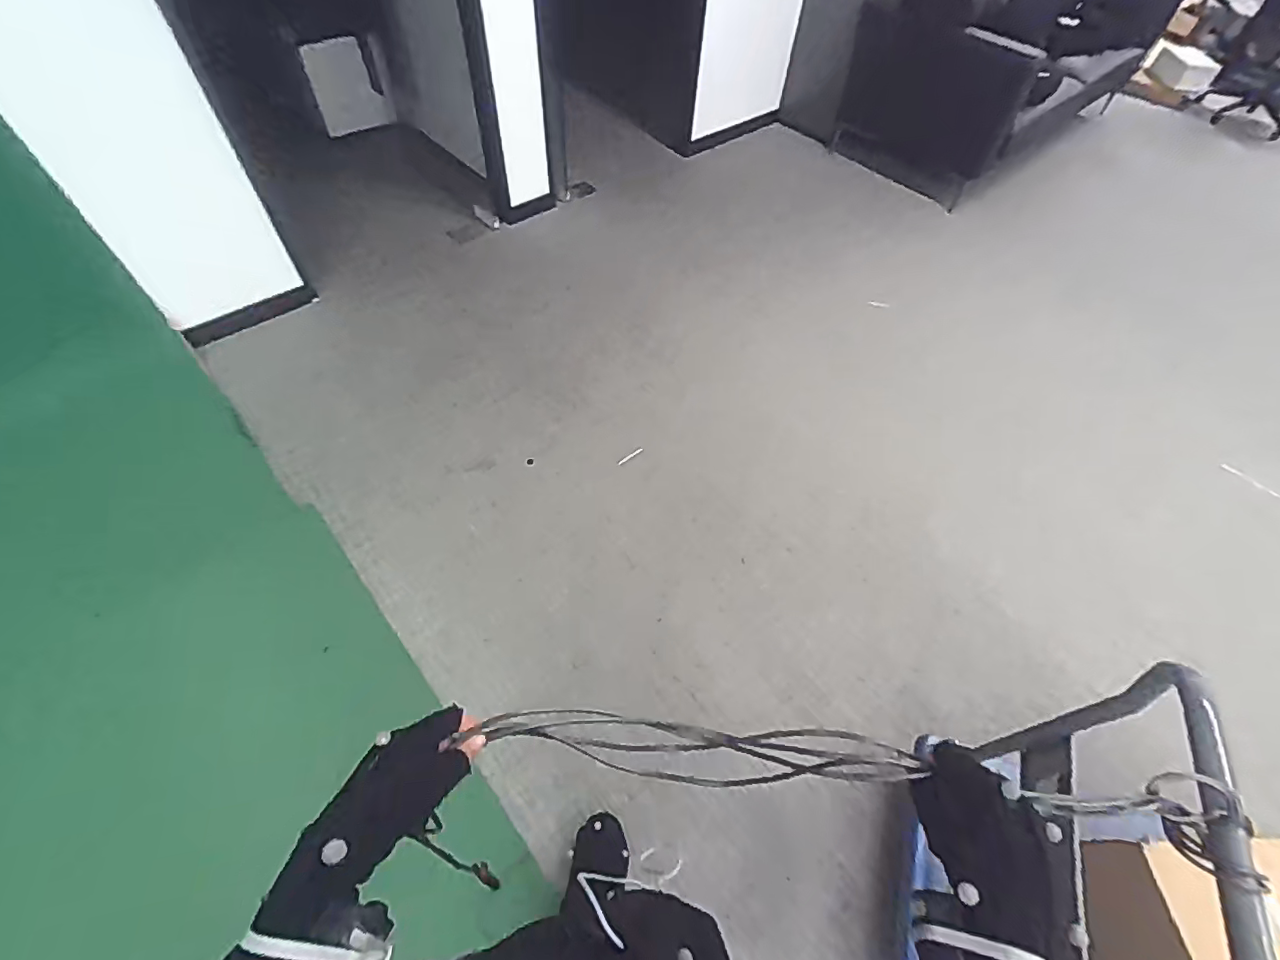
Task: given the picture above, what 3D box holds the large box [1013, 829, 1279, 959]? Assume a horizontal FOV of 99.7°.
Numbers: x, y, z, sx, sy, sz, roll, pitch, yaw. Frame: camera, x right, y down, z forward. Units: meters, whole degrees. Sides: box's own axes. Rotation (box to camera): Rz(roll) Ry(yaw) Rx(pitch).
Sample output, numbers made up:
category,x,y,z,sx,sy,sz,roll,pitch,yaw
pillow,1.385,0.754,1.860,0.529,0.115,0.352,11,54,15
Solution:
category,x,y,z,sx,sy,sz,roll,pitch,yaw
large box,0.914,0.816,0.874,0.320,0.320,0.408,2,54,-3
